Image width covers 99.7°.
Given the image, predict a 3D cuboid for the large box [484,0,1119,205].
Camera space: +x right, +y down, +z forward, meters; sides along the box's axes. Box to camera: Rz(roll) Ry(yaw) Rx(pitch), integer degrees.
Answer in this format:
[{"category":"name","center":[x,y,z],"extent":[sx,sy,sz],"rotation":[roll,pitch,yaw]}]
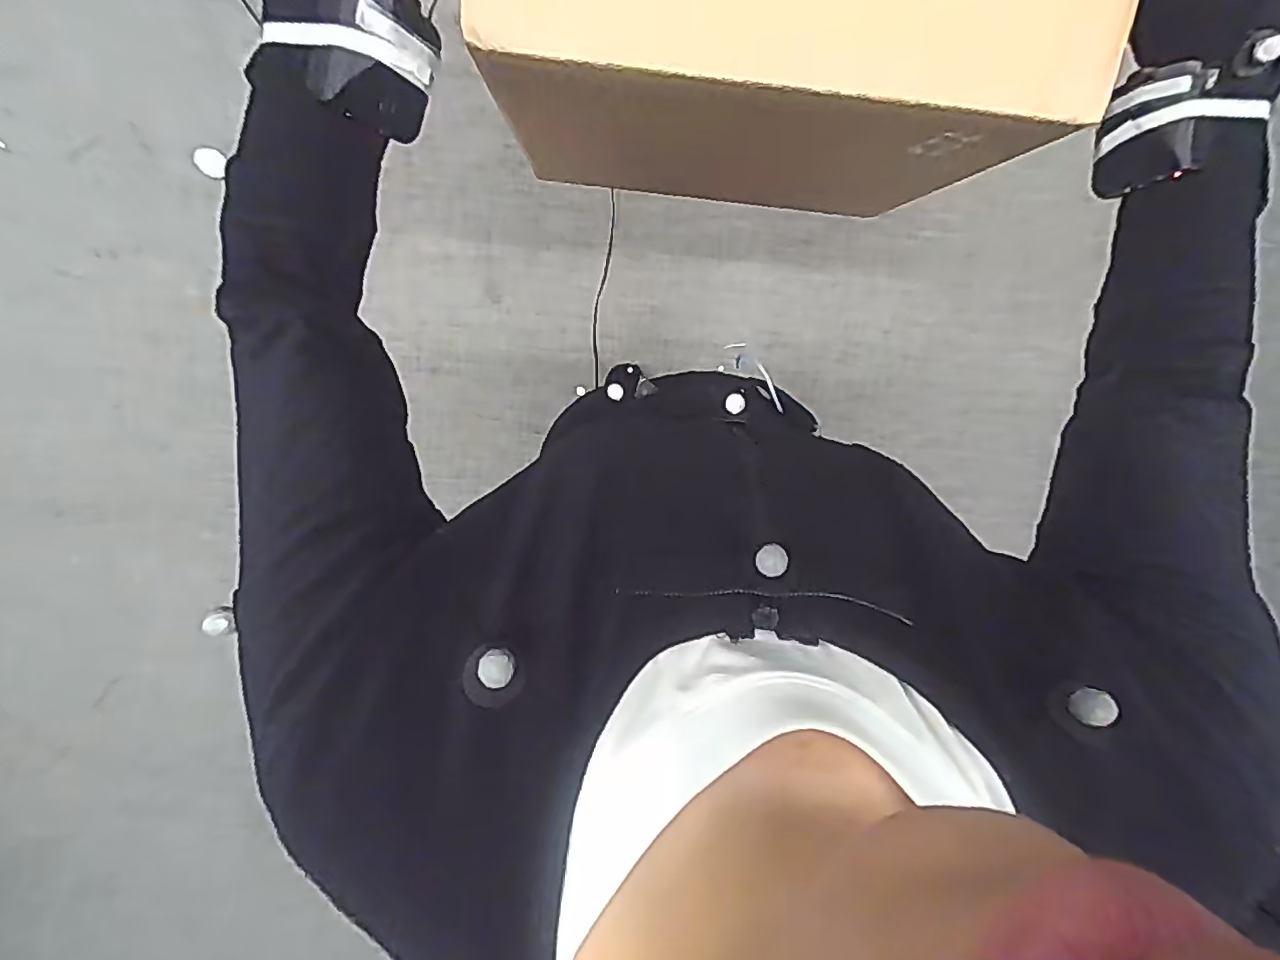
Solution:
[{"category":"large box","center":[0.100,-0.441,0.445],"extent":[0.408,0.320,0.320],"rotation":[3,106,-5]}]
